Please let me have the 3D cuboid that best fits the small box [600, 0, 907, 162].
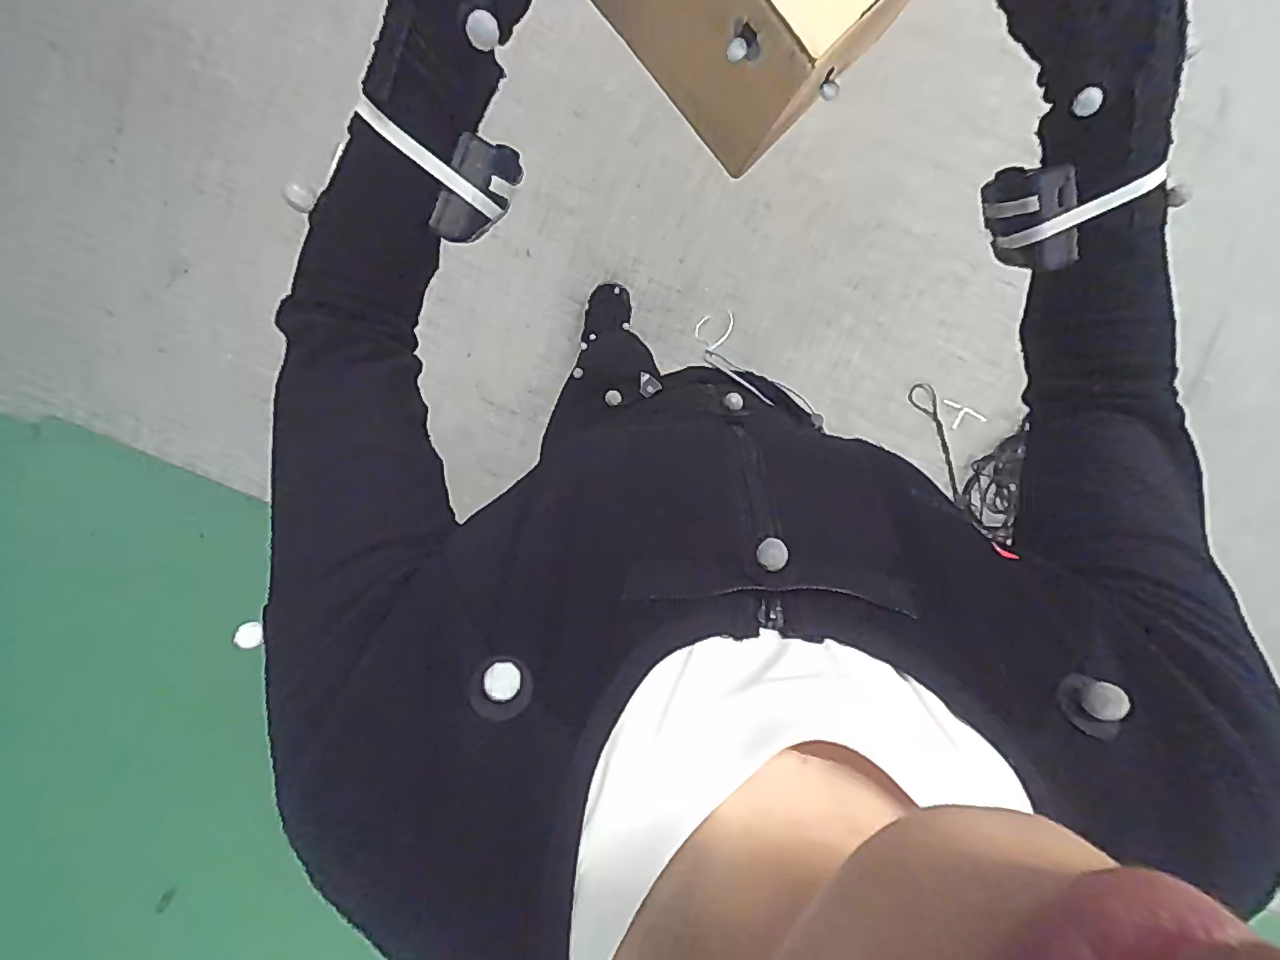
[{"bbox_3d":[0.083,-0.353,0.347,0.168,0.176,0.179,-43,103,4],"label":"small box"}]
